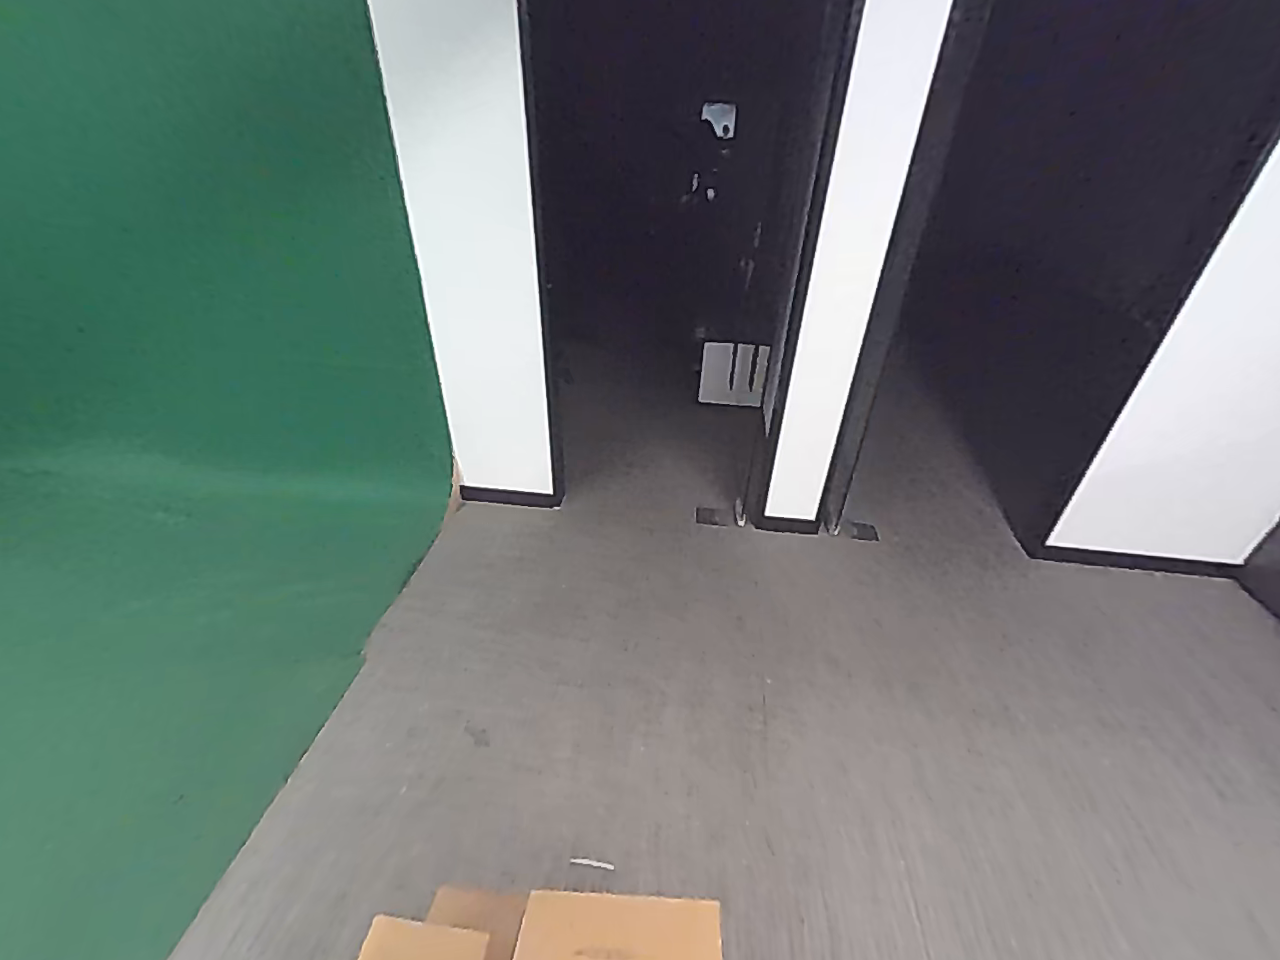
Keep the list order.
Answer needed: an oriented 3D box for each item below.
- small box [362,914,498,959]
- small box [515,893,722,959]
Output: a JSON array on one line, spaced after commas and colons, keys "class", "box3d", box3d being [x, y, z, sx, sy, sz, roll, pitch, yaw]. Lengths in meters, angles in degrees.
[{"class": "small box", "box3d": [-0.294, 0.724, 0.719, 0.168, 0.176, 0.179, 6, 36, 4]}, {"class": "small box", "box3d": [-0.016, 0.466, 0.416, 0.168, 0.176, 0.179, -1, 24, 6]}]
